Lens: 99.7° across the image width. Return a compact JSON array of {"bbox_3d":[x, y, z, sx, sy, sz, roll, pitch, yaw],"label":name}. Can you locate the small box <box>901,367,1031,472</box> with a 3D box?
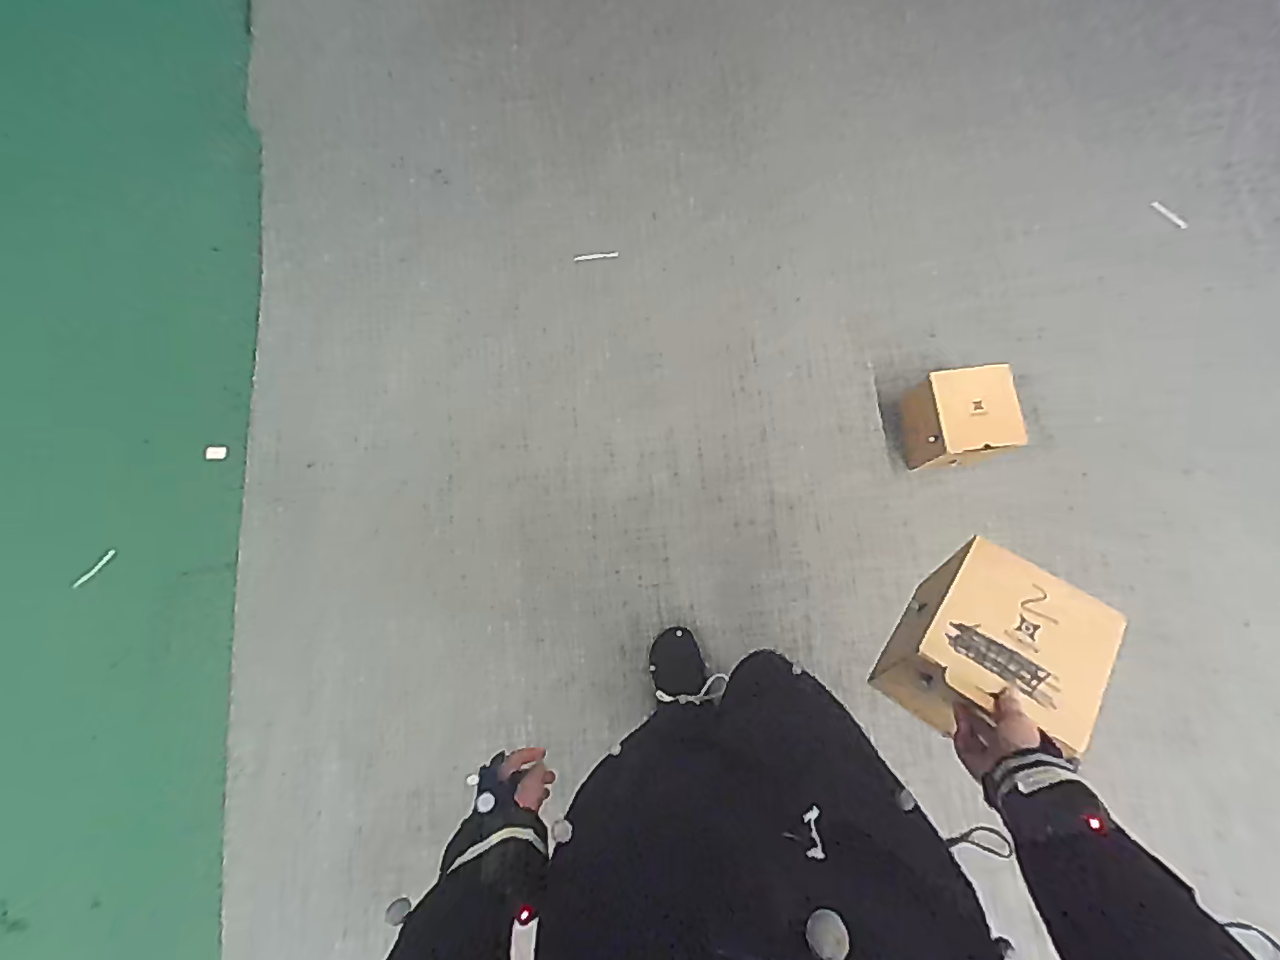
[{"bbox_3d":[0.692,-0.126,1.172,0.168,0.176,0.179,-7,80,0],"label":"small box"}]
